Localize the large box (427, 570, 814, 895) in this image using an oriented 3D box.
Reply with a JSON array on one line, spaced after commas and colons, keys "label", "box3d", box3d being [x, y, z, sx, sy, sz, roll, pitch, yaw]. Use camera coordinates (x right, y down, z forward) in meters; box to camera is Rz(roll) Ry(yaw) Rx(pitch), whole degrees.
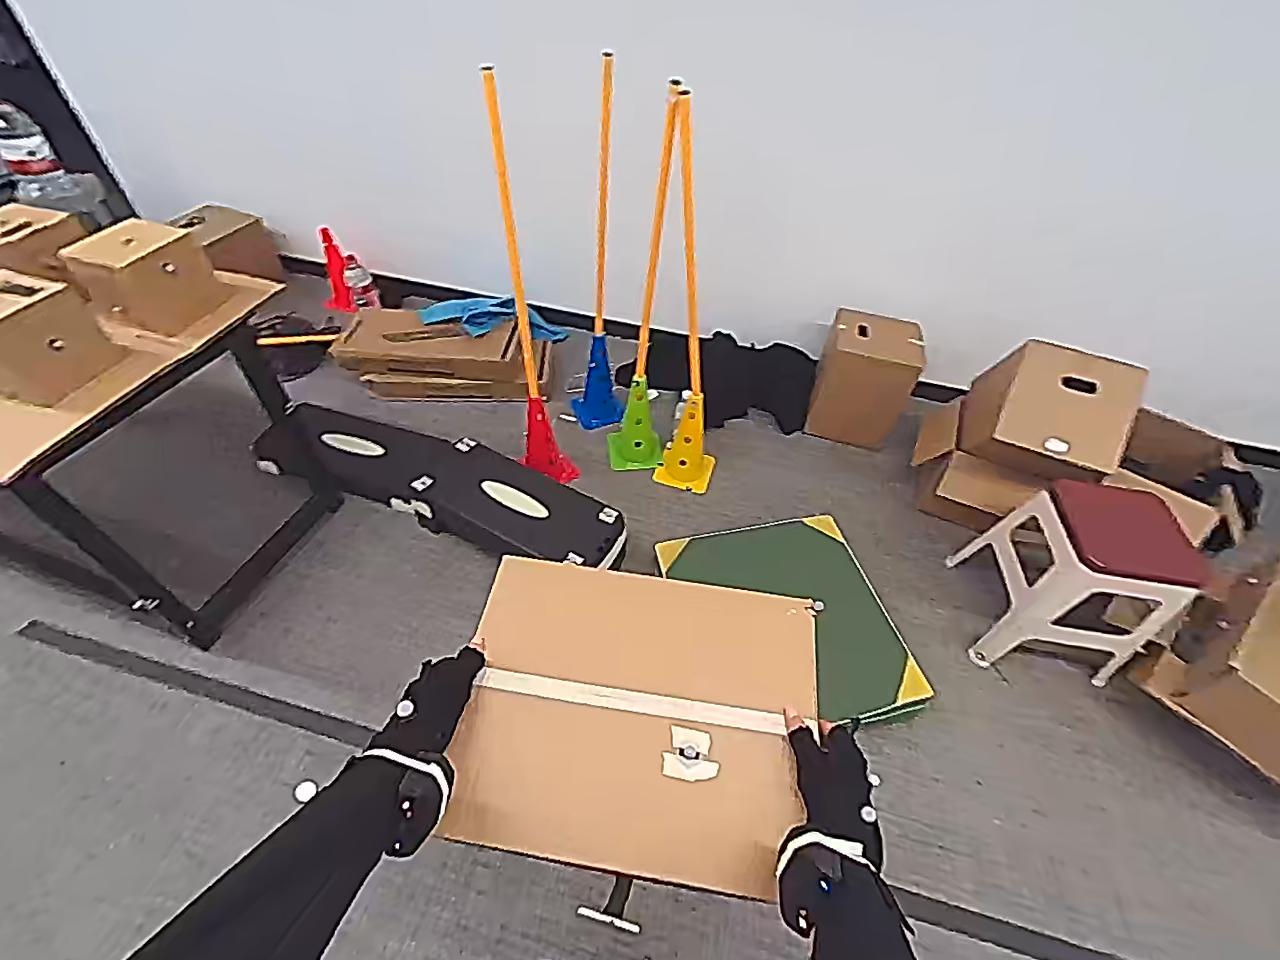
[{"label": "large box", "box3d": [-0.011, 0.351, 0.749, 0.408, 0.320, 0.320, 7, 55, 3]}]
